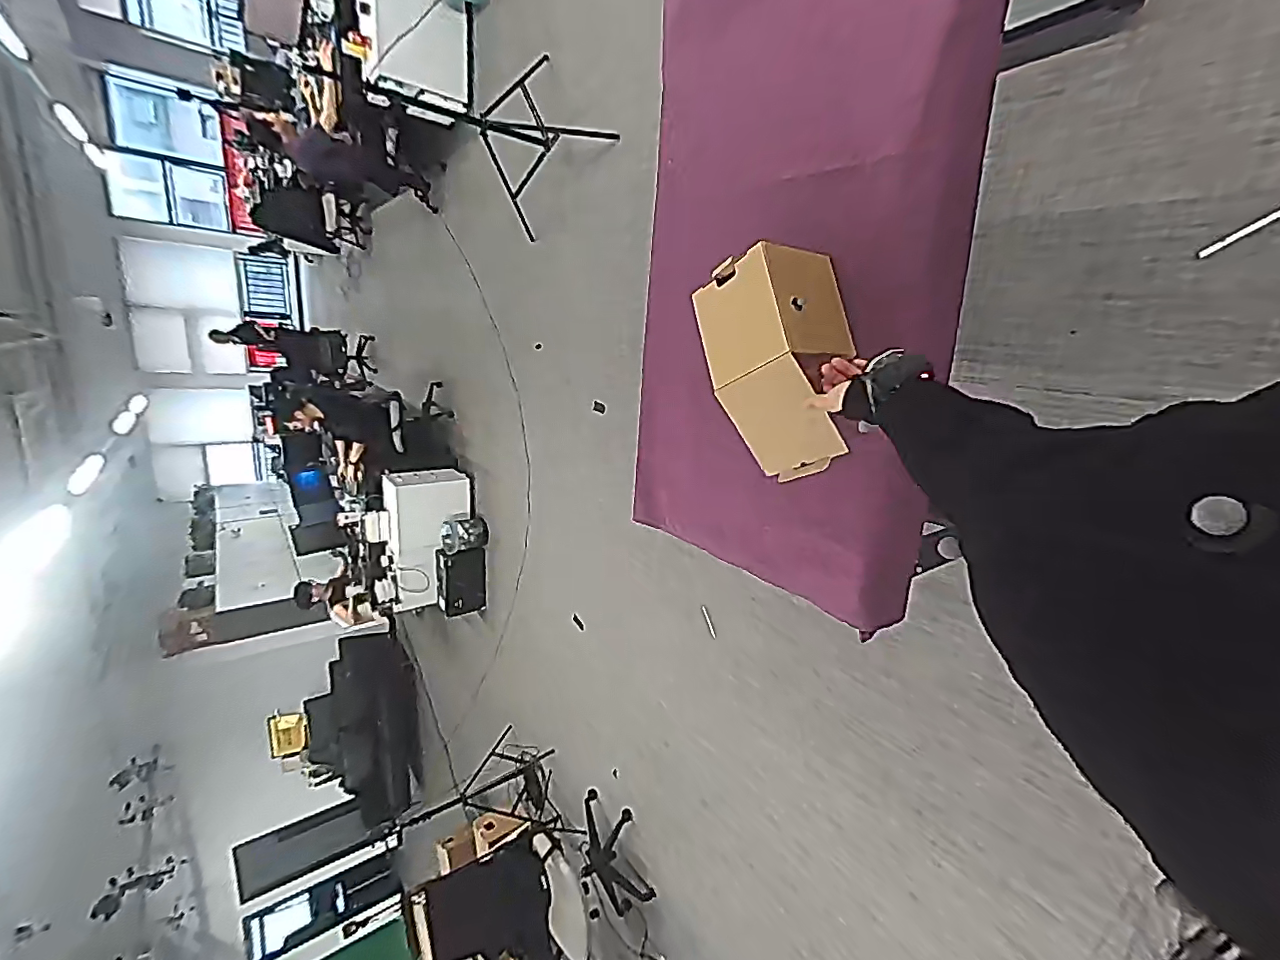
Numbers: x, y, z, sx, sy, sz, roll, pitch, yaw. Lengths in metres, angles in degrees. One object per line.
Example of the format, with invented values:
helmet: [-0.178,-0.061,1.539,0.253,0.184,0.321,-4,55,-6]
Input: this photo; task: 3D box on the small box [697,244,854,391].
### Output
small box: [0.224,-0.255,0.889,0.168,0.176,0.179,-21,78,53]
